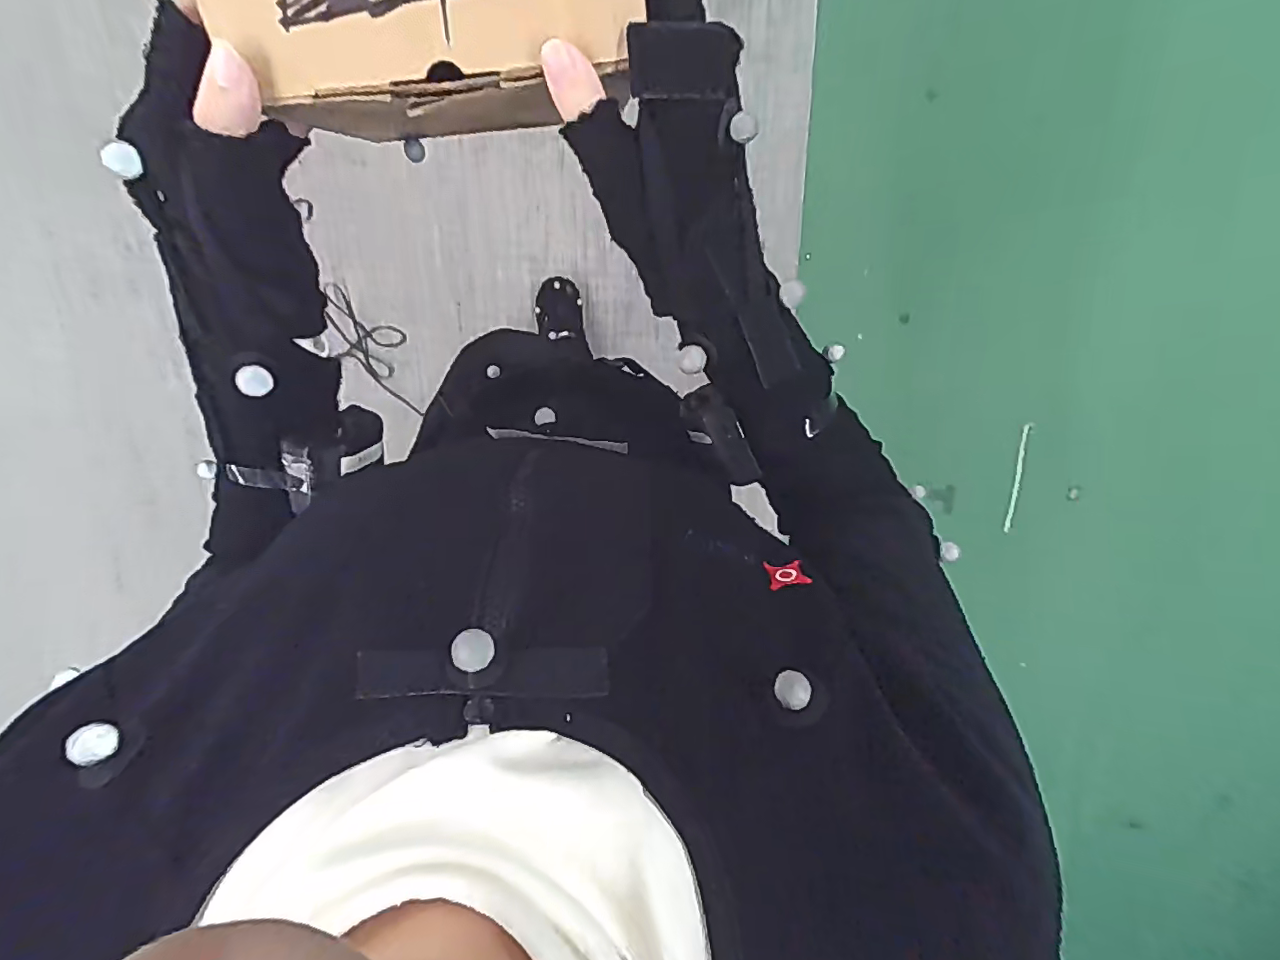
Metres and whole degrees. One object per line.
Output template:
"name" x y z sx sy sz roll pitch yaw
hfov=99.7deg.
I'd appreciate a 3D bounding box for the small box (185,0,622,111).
"small box" -0.099 -0.280 0.241 0.168 0.176 0.179 -7 118 -2
